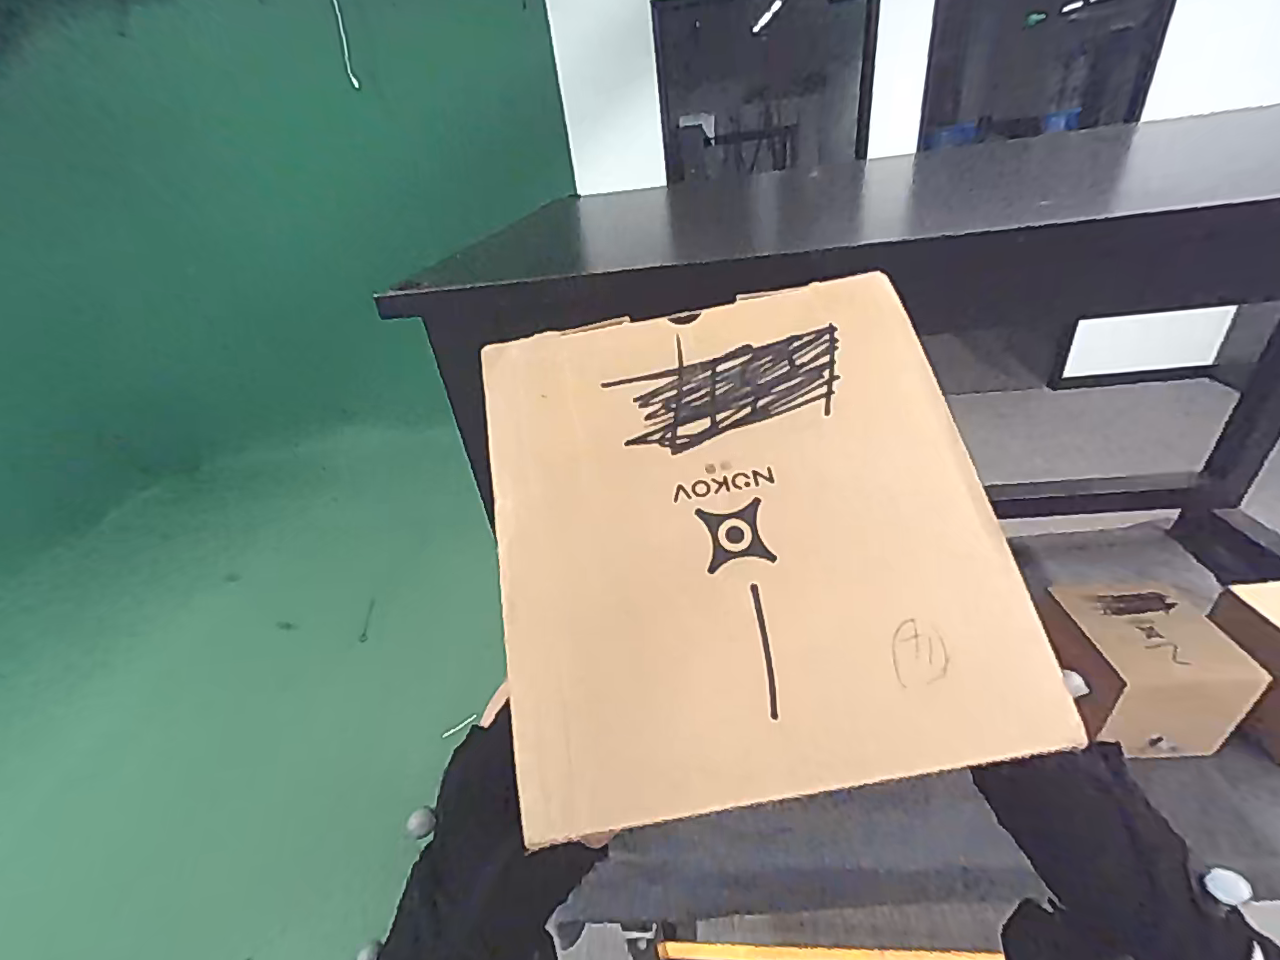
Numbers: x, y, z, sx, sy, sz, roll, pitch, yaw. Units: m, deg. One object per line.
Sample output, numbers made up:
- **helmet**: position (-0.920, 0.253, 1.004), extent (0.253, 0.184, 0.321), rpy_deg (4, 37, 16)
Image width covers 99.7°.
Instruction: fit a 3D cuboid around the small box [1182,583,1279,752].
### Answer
- **small box**: position (0.920, 0.259, 0.736), extent (0.168, 0.176, 0.179), rpy_deg (-5, 32, 5)
